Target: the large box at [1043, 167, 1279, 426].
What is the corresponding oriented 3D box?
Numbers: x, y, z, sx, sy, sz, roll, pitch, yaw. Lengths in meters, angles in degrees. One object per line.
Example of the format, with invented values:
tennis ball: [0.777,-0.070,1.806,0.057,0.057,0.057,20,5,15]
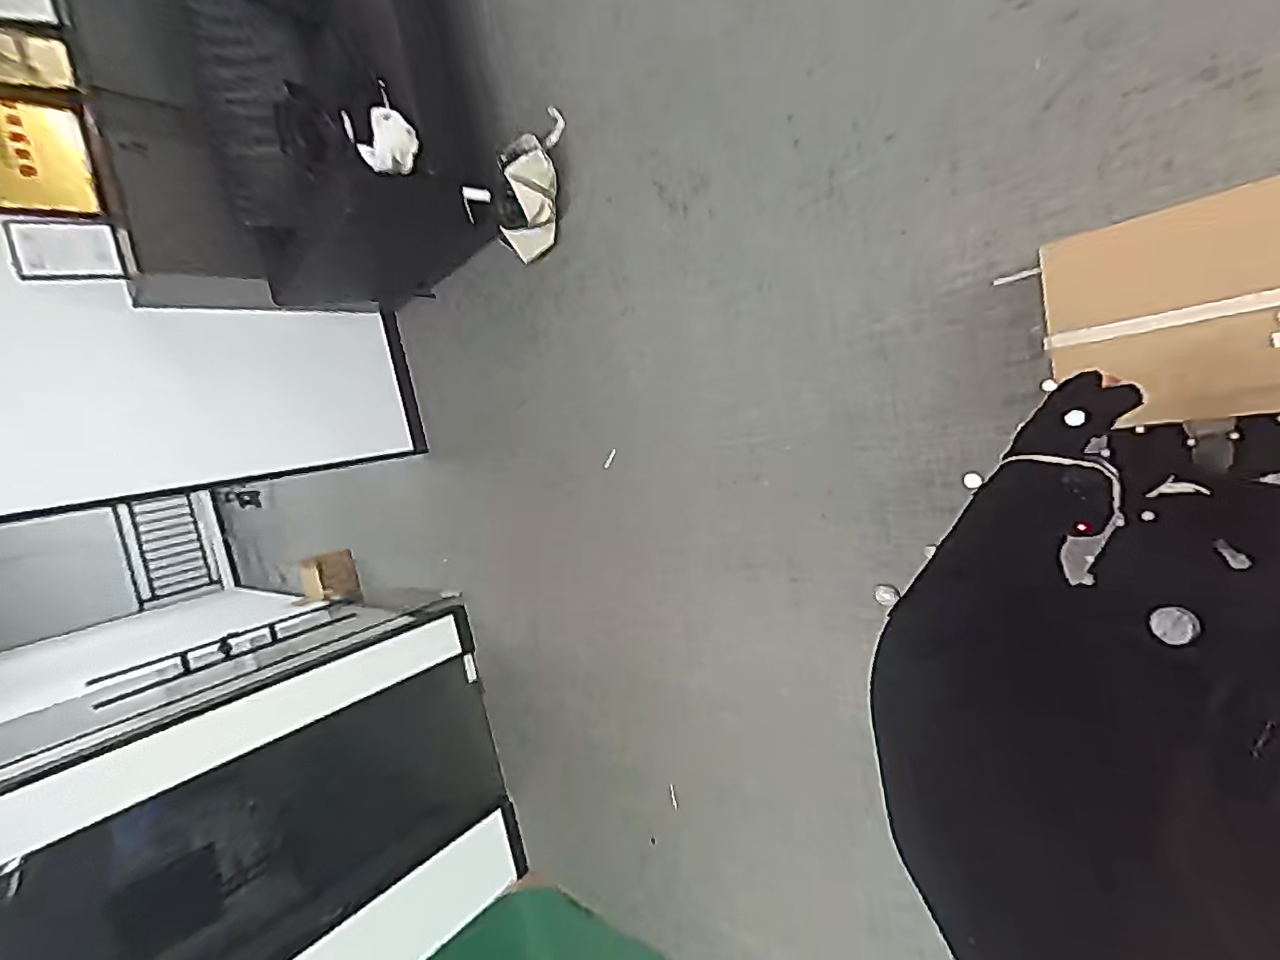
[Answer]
large box: [0.929,-0.282,0.864,0.408,0.320,0.320,-6,97,44]
